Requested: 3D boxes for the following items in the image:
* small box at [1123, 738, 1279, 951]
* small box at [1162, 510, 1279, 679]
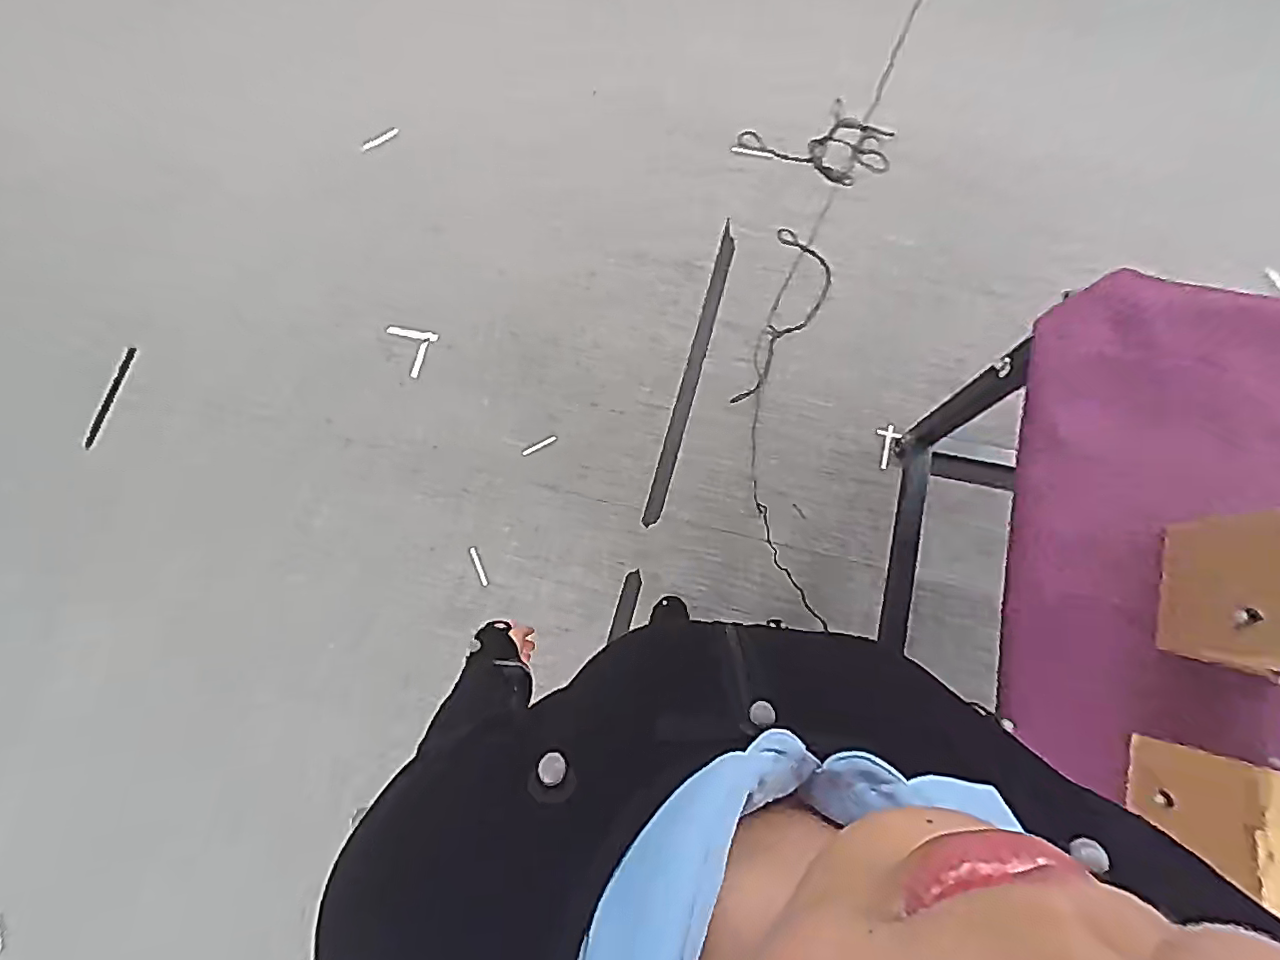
[{"bbox_3d":[0.709,0.413,0.608,0.179,0.176,0.168,15,79,7],"label":"small box"},{"bbox_3d":[0.797,0.149,0.659,0.168,0.176,0.179,15,79,7],"label":"small box"}]
